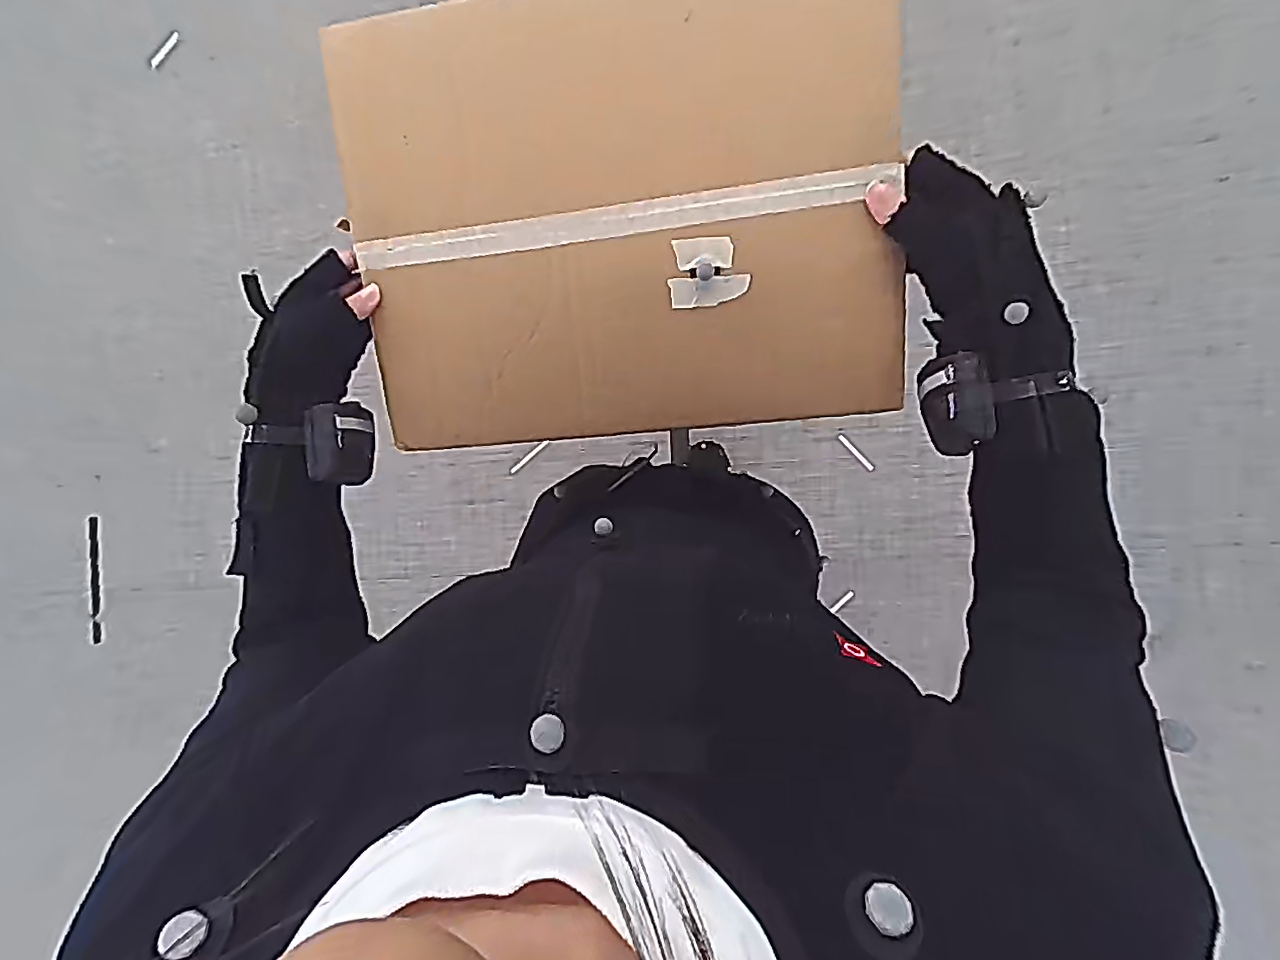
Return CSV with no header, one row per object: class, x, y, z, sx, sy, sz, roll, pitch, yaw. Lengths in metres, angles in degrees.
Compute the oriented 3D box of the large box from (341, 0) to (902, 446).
large box,0.001,-0.228,0.553,0.408,0.320,0.320,-5,102,8
